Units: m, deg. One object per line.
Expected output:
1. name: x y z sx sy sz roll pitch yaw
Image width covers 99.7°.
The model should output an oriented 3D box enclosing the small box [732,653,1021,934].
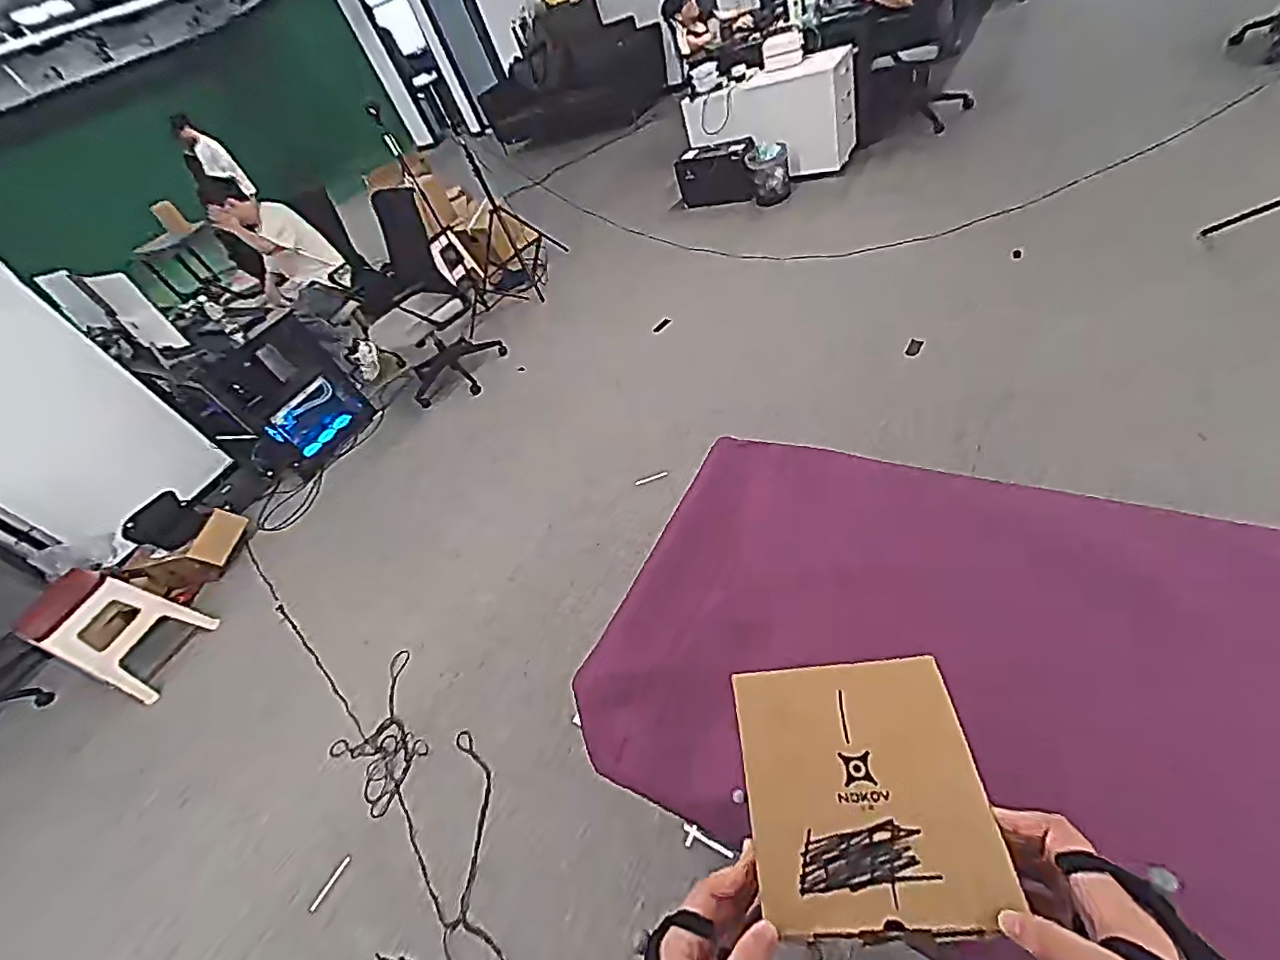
1. small box: 0.175 0.269 0.457 0.168 0.176 0.179 -8 47 9
